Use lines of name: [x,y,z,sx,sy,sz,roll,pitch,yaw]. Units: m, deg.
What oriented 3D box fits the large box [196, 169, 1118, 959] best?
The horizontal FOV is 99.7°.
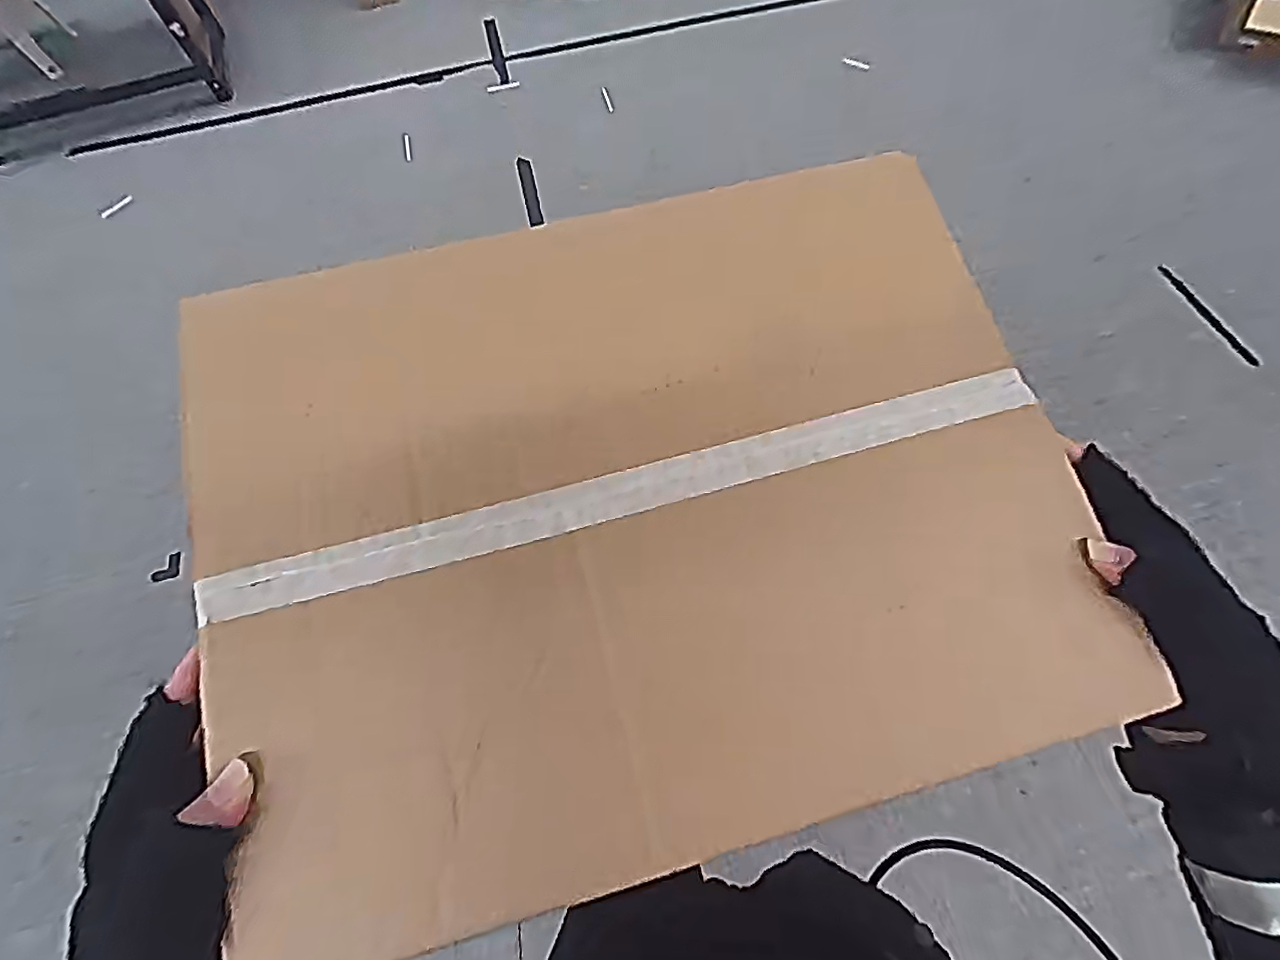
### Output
large box: [-0.006,0.044,0.413,0.408,0.320,0.320,-15,76,-5]
